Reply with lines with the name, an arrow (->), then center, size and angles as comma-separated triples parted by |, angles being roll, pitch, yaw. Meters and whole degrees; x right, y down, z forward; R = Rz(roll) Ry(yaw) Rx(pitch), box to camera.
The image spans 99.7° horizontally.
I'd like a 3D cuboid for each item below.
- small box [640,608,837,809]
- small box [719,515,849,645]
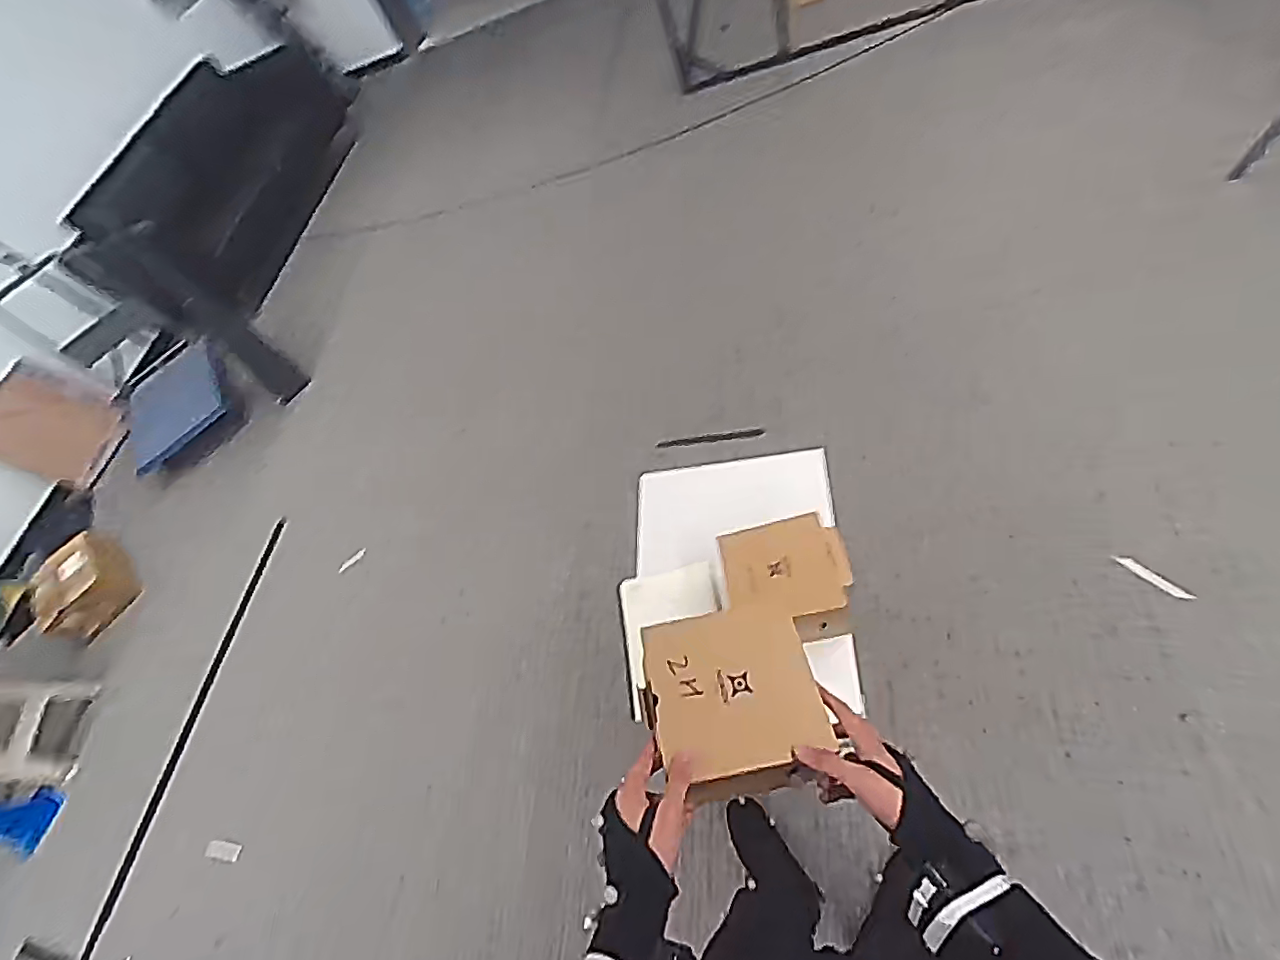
small box -> 0.105, 0.273, 0.638 | 0.179, 0.176, 0.168 | -12, 53, 0
small box -> 0.248, 0.183, 0.928 | 0.179, 0.176, 0.168 | -16, 56, 14
